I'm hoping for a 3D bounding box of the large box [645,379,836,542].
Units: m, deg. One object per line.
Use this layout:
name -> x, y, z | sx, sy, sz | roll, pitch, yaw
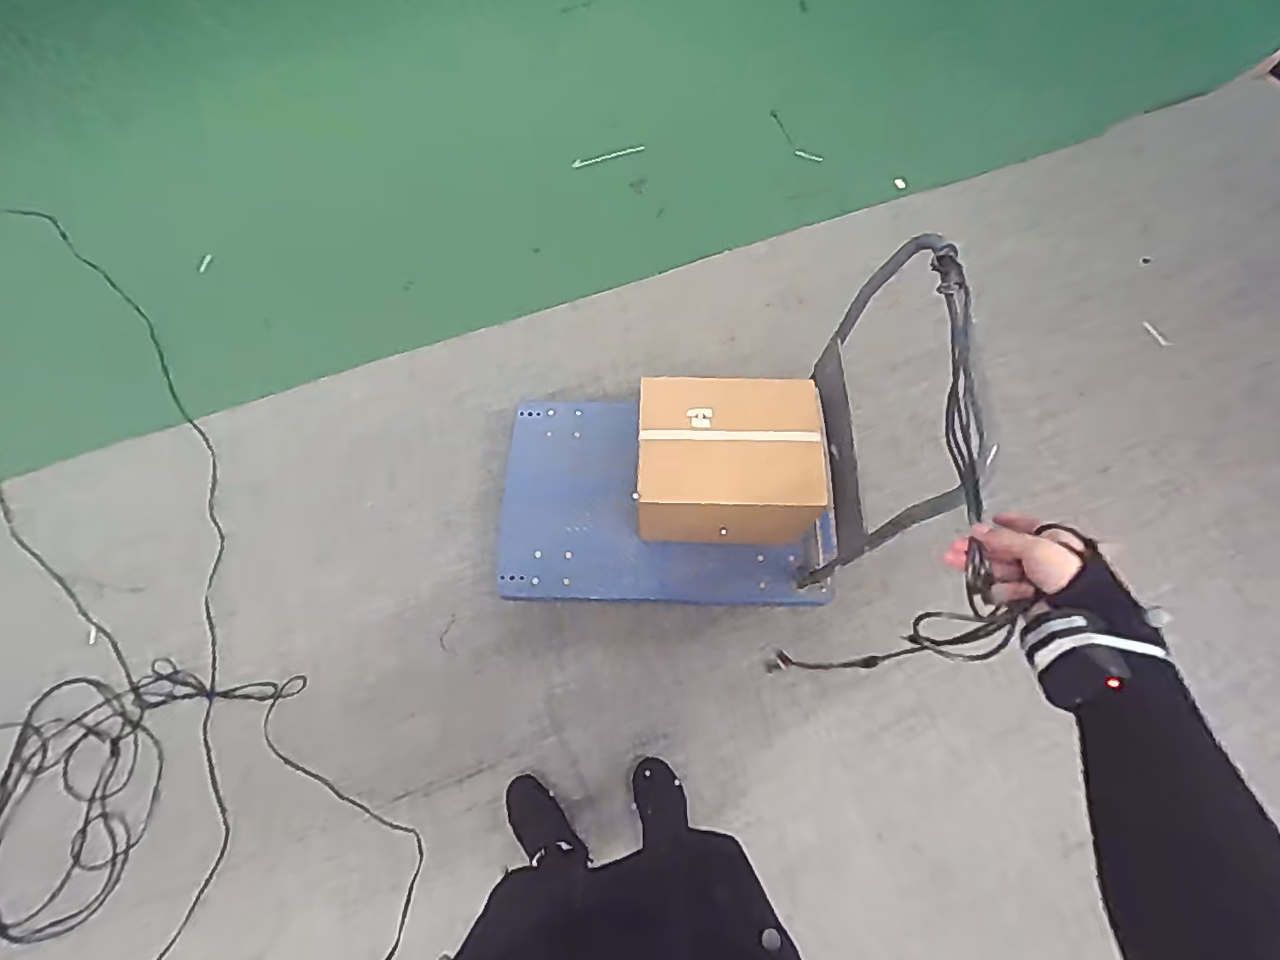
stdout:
large box -> 0.216, -0.032, 1.320 | 0.408, 0.320, 0.320 | 0, 68, 2
